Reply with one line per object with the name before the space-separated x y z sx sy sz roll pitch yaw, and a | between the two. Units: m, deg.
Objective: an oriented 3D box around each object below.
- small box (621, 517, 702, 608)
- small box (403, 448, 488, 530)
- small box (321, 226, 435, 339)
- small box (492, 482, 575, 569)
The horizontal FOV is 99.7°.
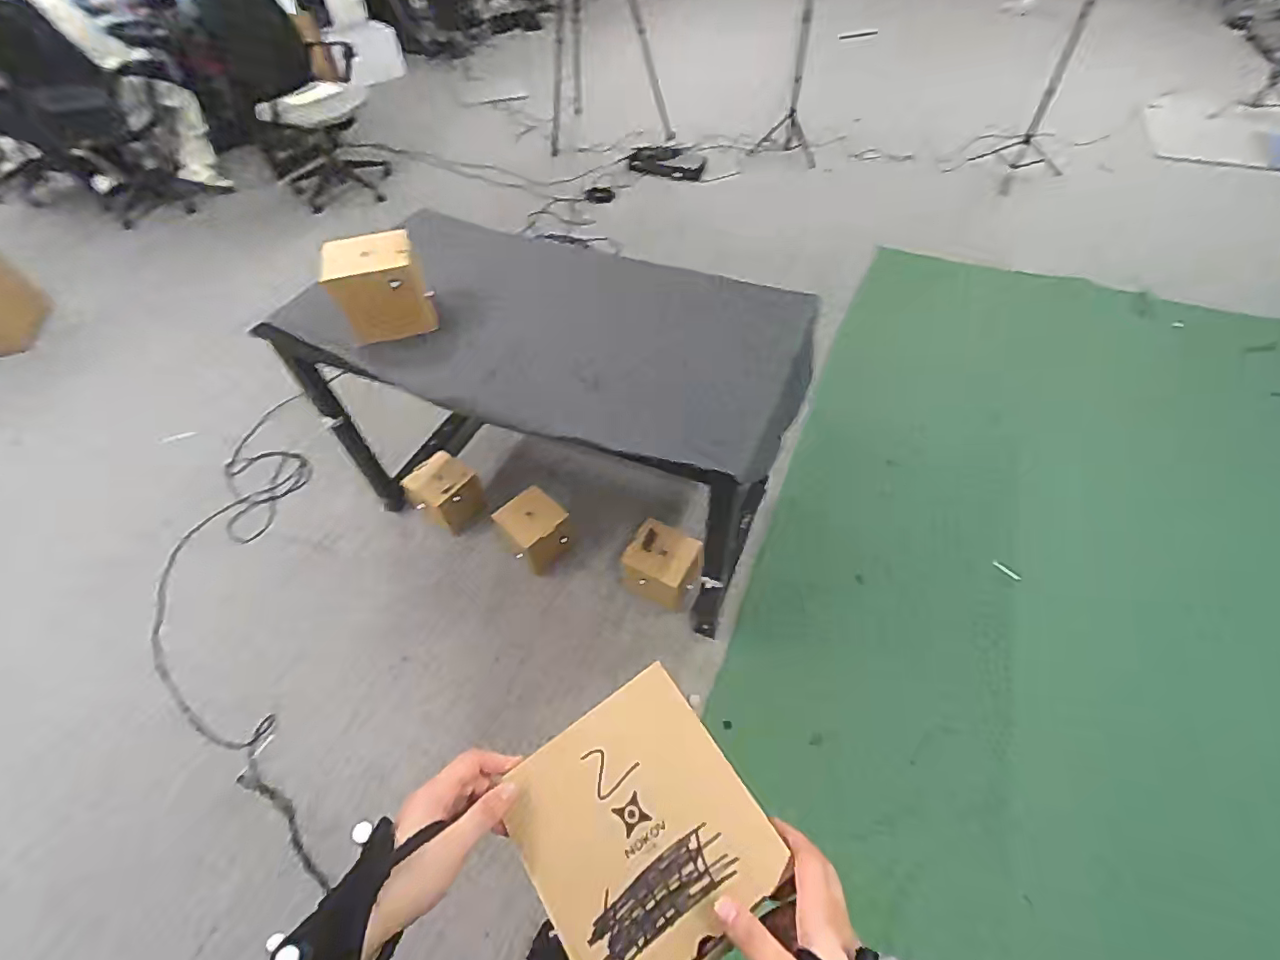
small box | 0.063 0.242 1.565 0.179 0.176 0.168 23 57 19
small box | -0.630 0.033 1.768 0.179 0.176 0.168 29 58 24
small box | -0.579 -0.437 1.209 0.179 0.176 0.168 -15 52 -10
small box | -0.320 0.147 1.661 0.179 0.176 0.168 36 60 29
